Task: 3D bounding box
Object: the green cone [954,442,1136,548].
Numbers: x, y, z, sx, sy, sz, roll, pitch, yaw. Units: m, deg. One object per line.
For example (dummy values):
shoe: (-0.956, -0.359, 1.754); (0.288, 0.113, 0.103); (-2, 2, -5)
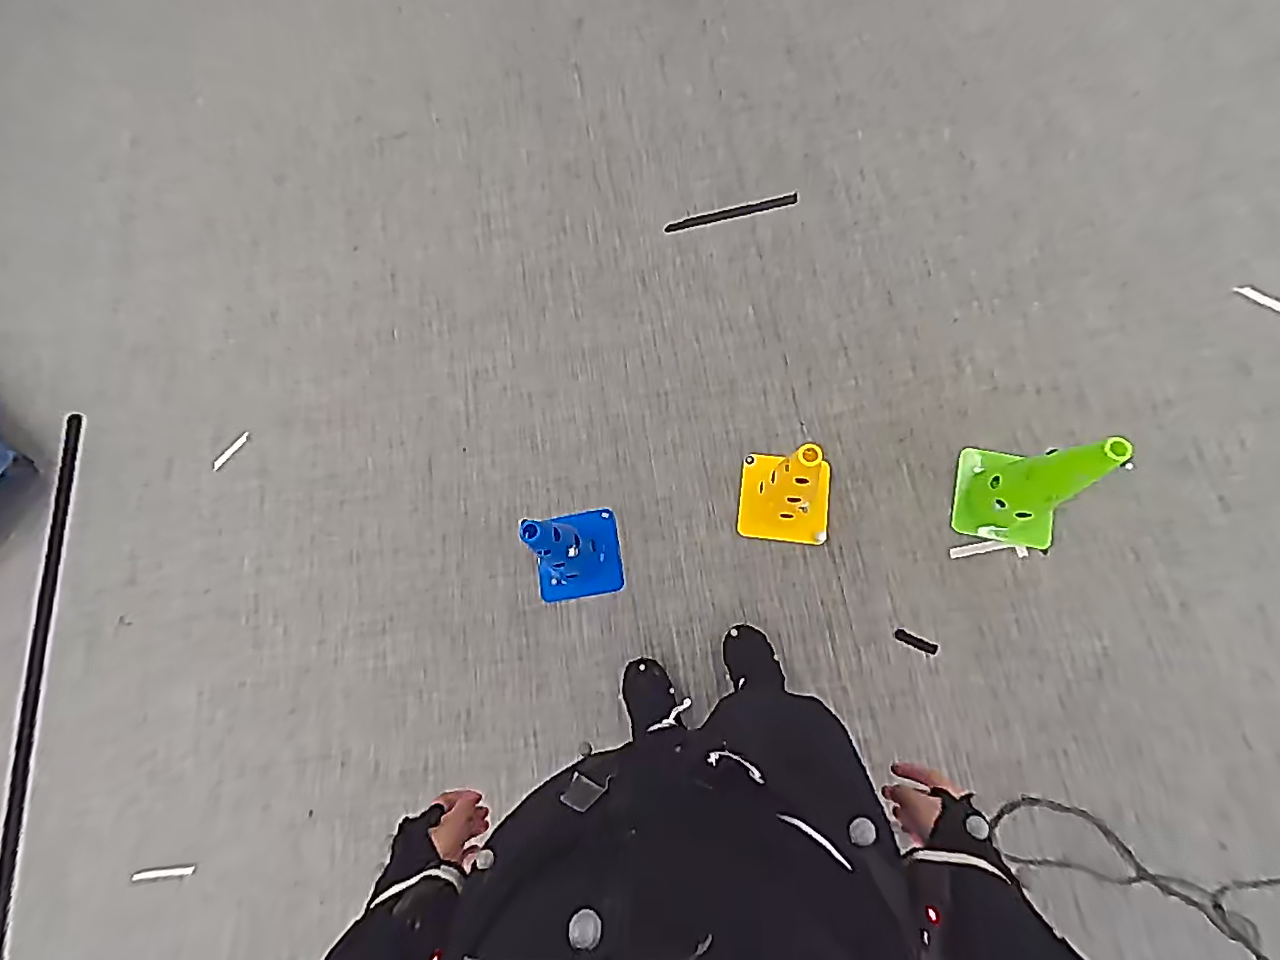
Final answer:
green cone: (0.781, -0.004, 1.024); (0.200, 0.368, 0.202); (11, 78, 11)
